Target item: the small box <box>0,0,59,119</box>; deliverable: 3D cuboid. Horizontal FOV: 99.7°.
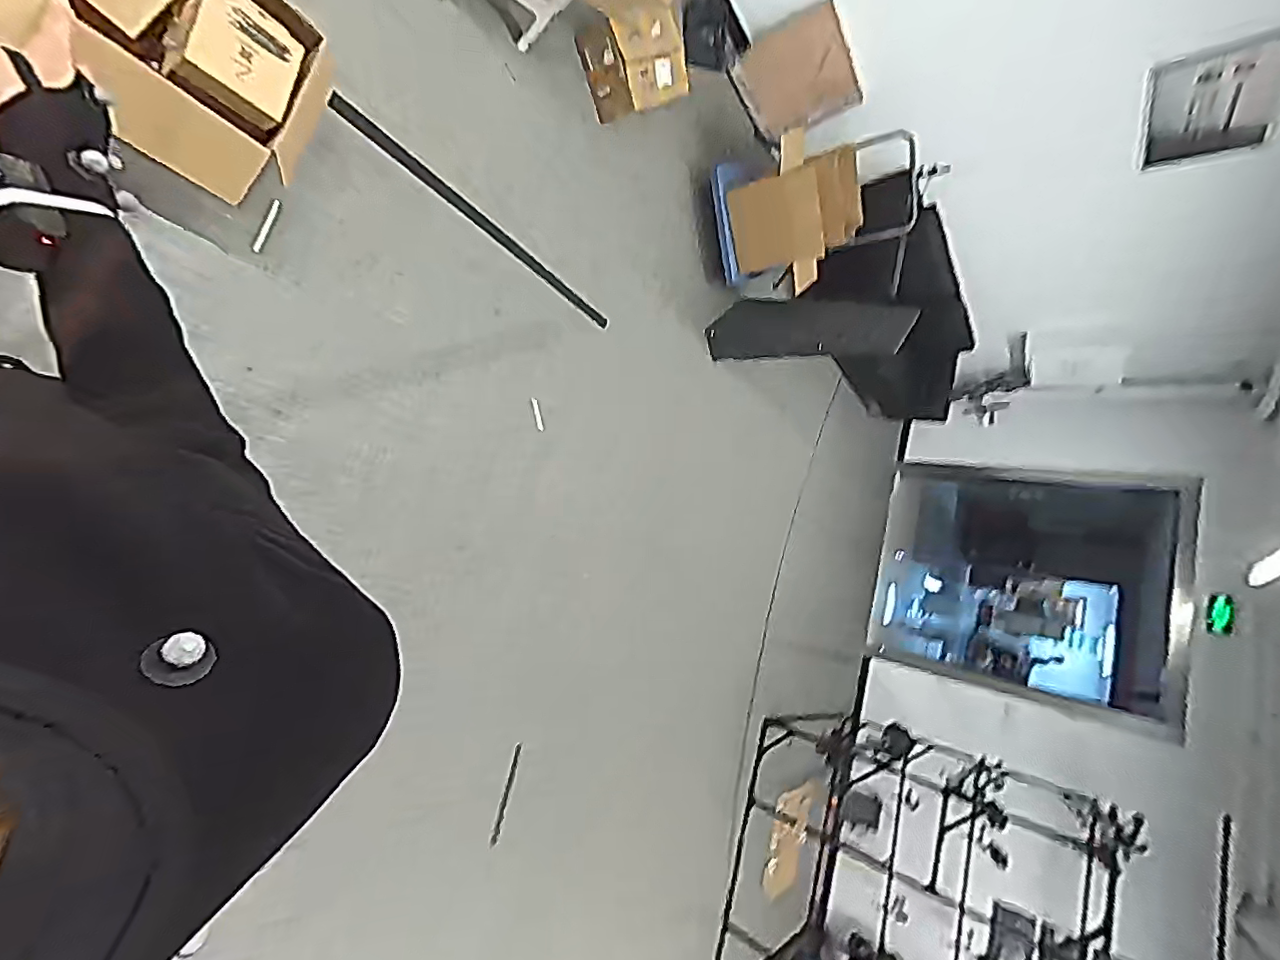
[{"bbox_3d":[-0.574,-0.417,0.415,0.168,0.176,0.179,-4,109,-47],"label":"small box"}]
